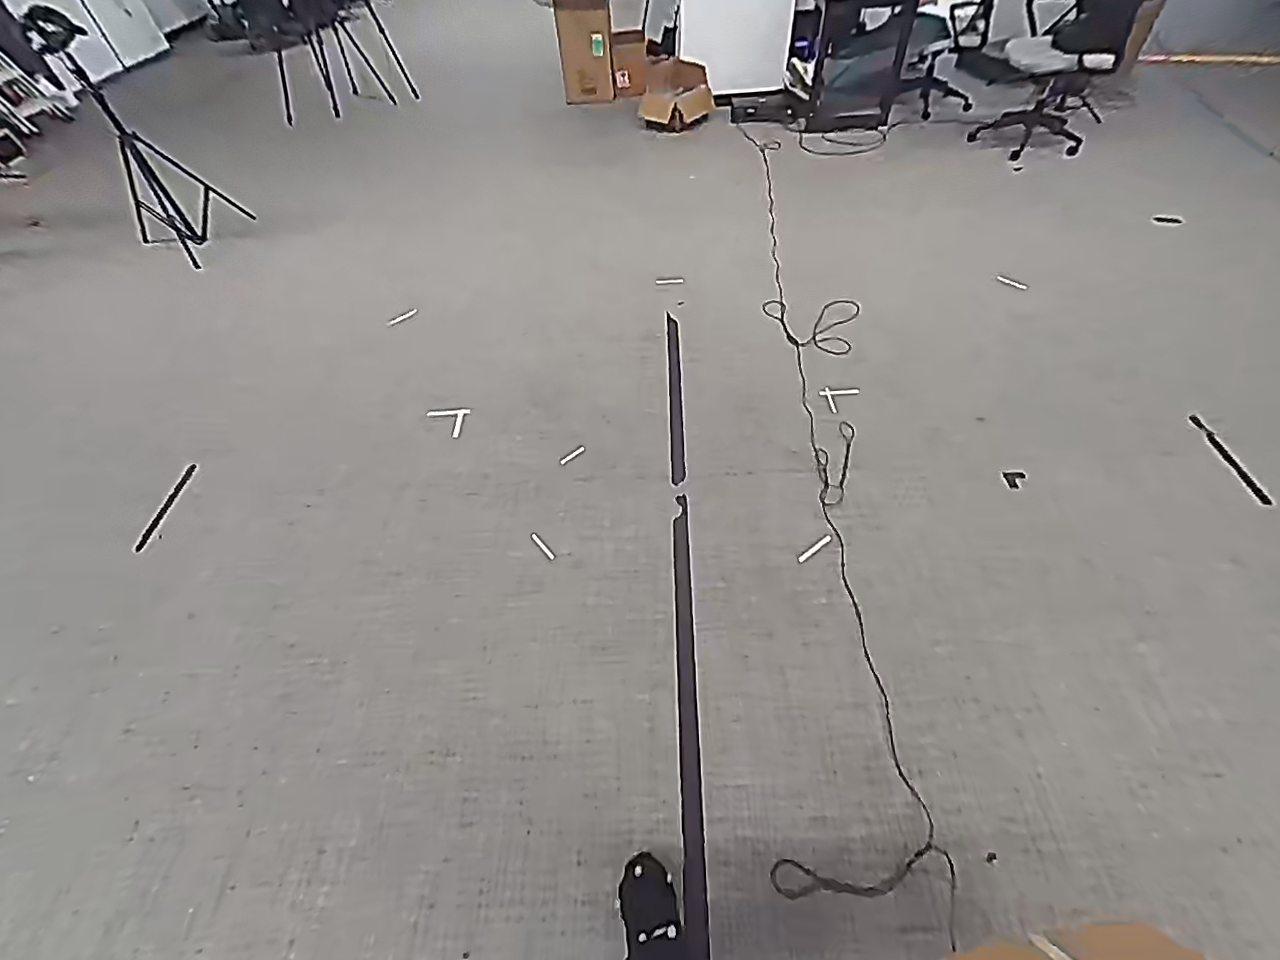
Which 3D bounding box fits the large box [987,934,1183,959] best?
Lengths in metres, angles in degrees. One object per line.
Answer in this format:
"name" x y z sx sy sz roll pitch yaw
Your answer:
"large box" 0.592 0.765 0.542 0.320 0.408 0.320 -11 75 -2
